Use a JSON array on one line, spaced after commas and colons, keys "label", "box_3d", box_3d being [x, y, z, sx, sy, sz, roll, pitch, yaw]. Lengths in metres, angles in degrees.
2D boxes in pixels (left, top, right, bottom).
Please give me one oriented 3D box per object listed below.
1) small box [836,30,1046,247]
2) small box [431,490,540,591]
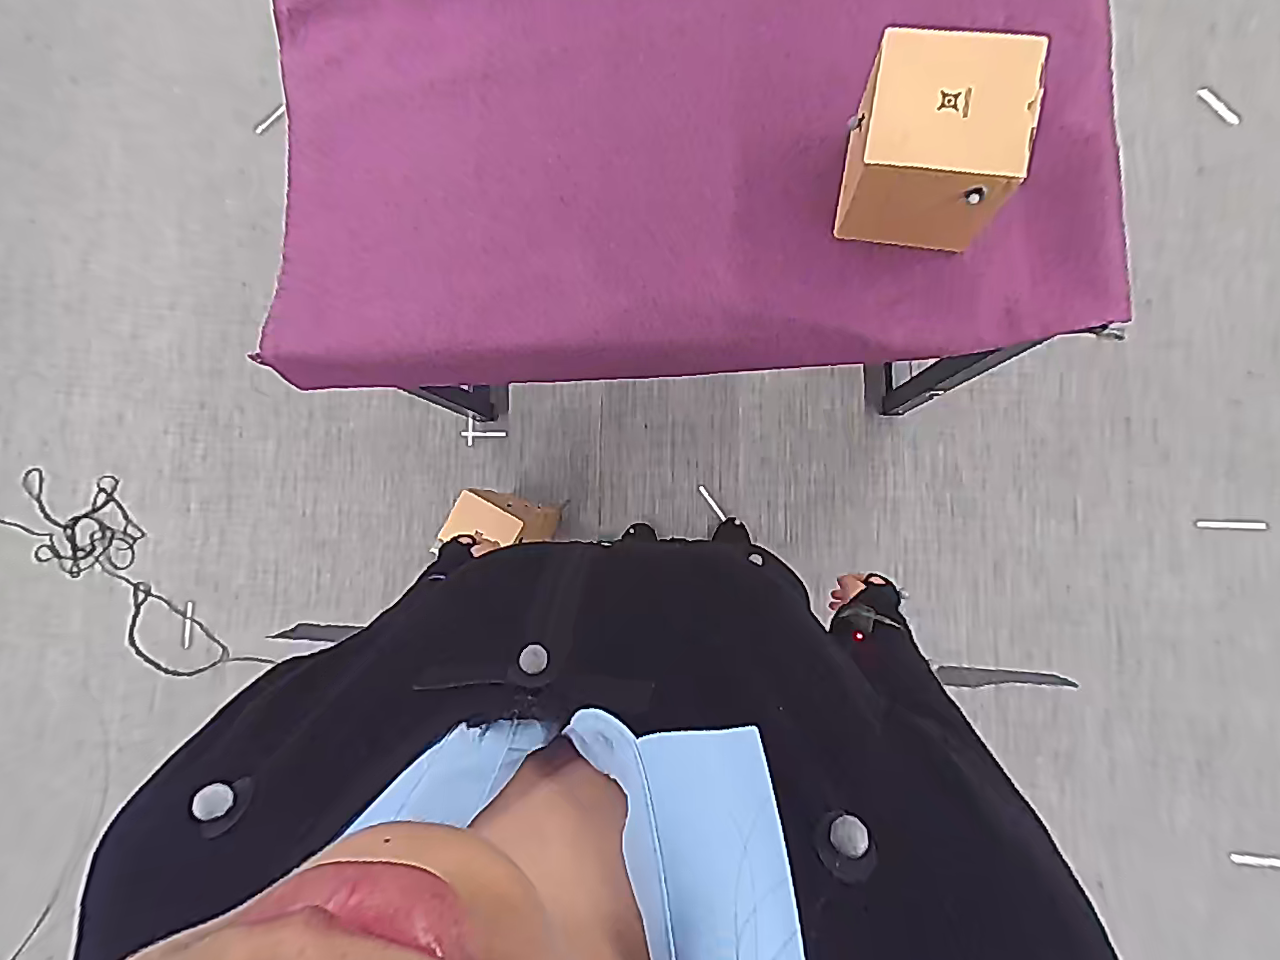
[{"label": "small box", "box_3d": [0.362, -0.417, 0.685, 0.179, 0.176, 0.168, 10, 87, 8]}, {"label": "small box", "box_3d": [-0.358, 0.140, 1.300, 0.168, 0.176, 0.179, 29, 91, 7]}]
